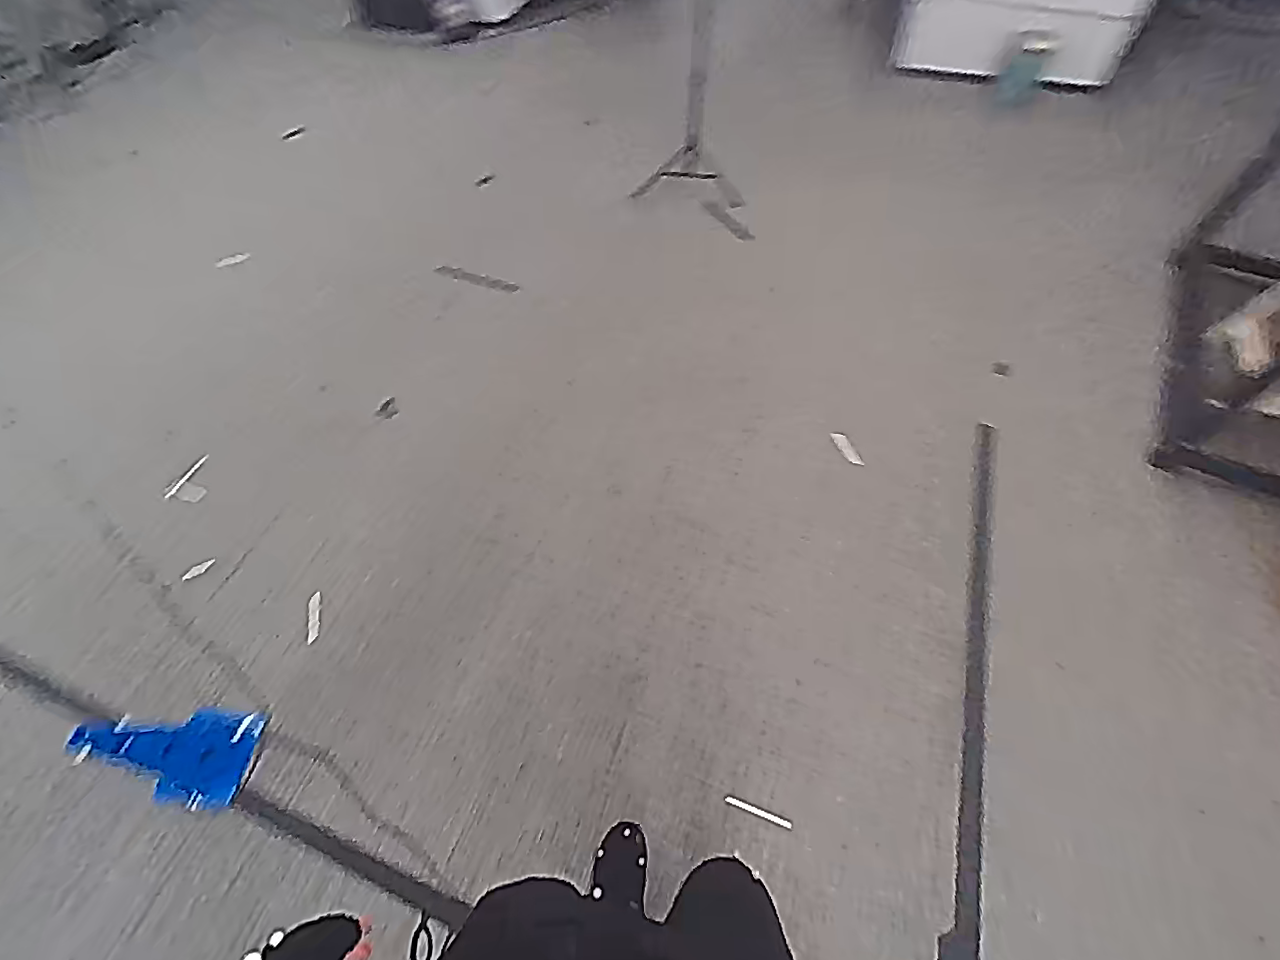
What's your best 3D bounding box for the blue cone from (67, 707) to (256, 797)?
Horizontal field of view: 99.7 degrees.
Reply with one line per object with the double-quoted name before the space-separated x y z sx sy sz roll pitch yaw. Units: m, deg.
"blue cone" -1.053 0.559 1.163 0.192 0.380 0.193 3 57 5
